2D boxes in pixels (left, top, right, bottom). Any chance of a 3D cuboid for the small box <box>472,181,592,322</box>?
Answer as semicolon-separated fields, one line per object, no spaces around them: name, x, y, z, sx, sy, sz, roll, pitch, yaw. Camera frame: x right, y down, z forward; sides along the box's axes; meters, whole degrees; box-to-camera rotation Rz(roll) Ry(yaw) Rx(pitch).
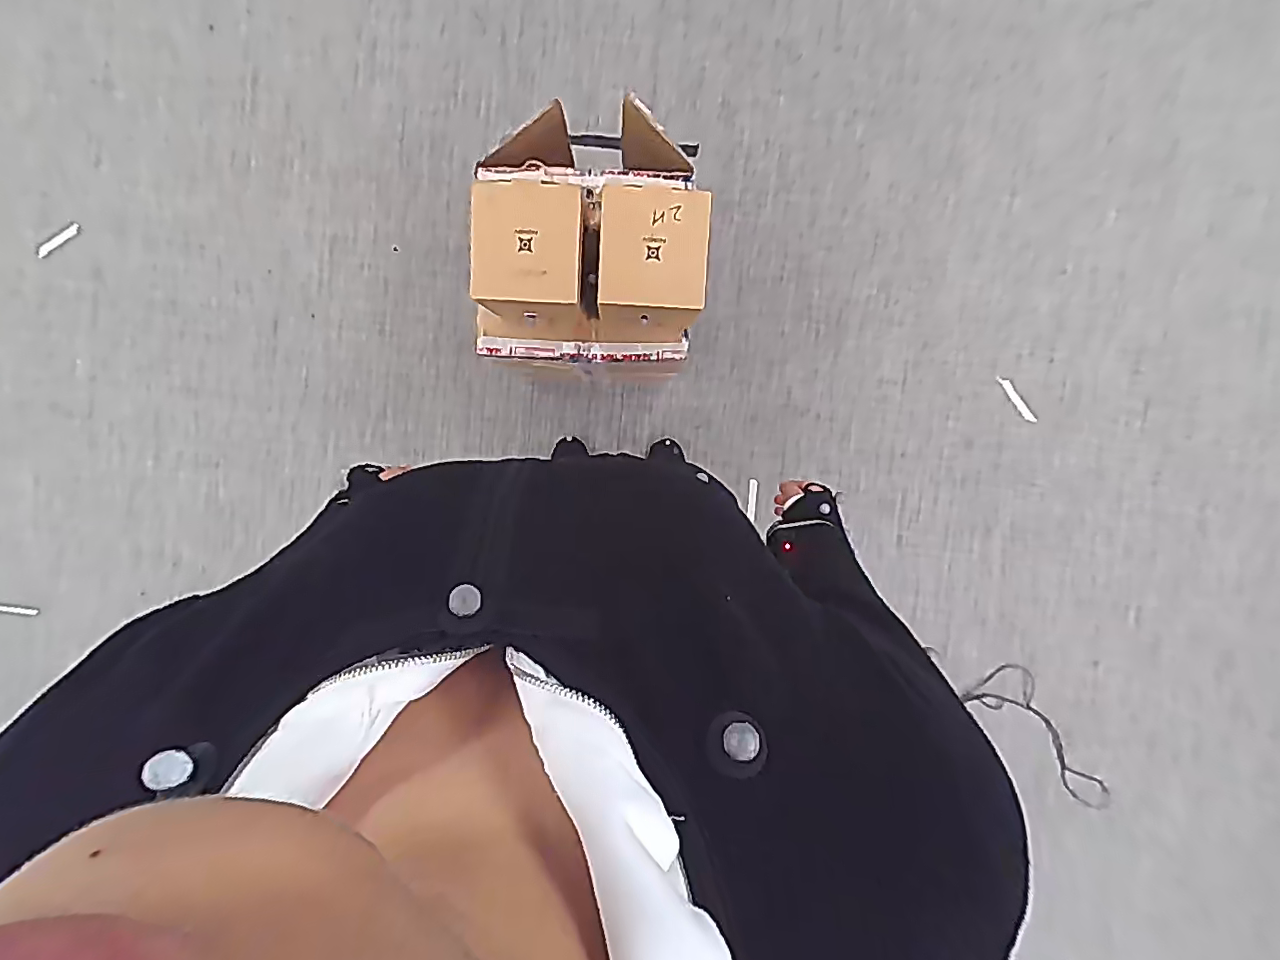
small box;-0.171;-0.367;0.894;0.168;0.176;0.179;2;98;0

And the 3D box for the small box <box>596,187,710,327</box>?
small box;0.017;-0.357;0.898;0.168;0.176;0.179;3;96;-3
